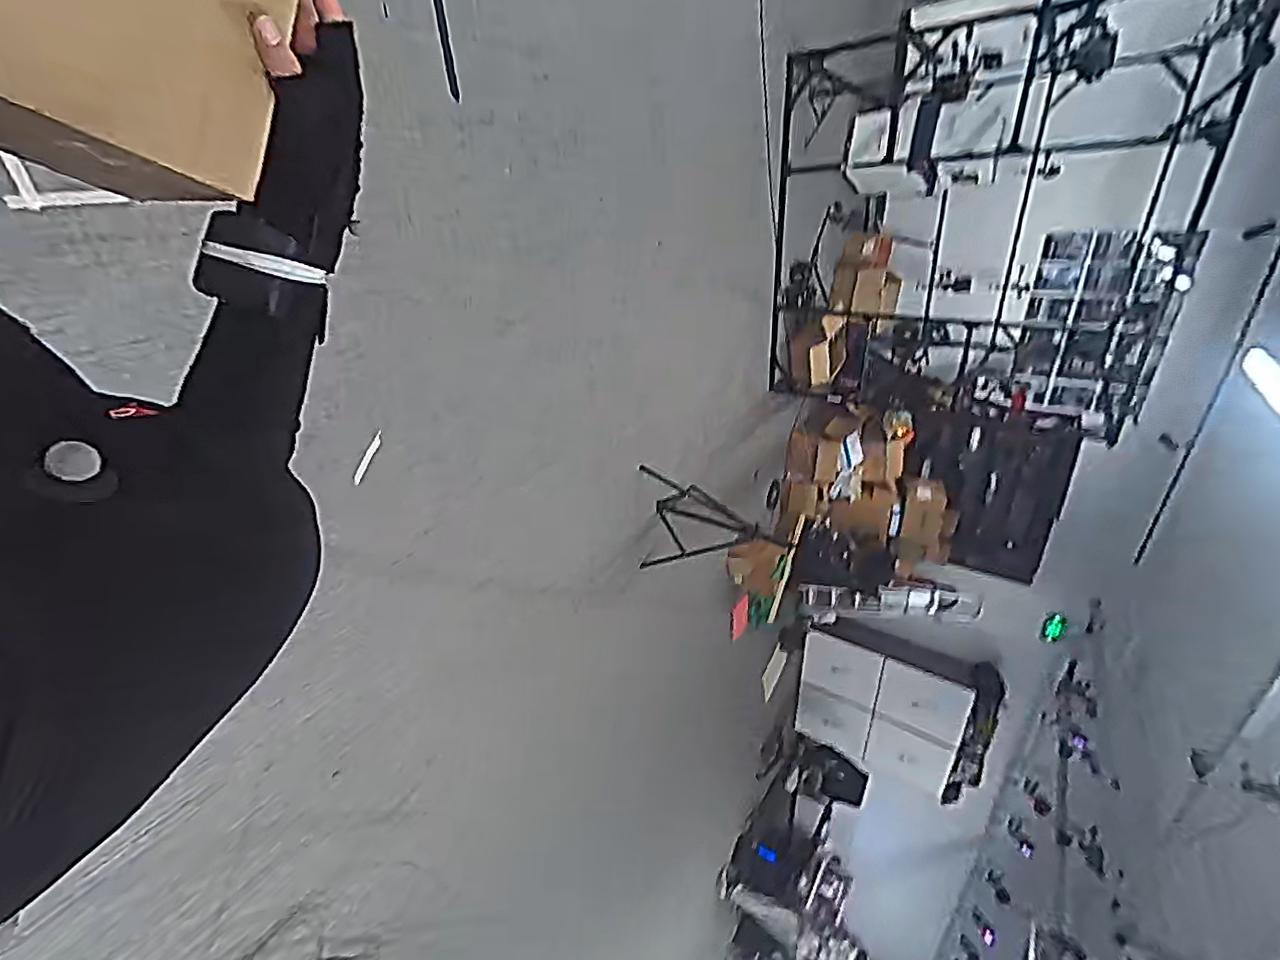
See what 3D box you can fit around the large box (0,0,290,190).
[{"bbox_3d":[-0.460,-0.404,0.284,0.408,0.320,0.320,7,102,-55],"label":"large box"}]
